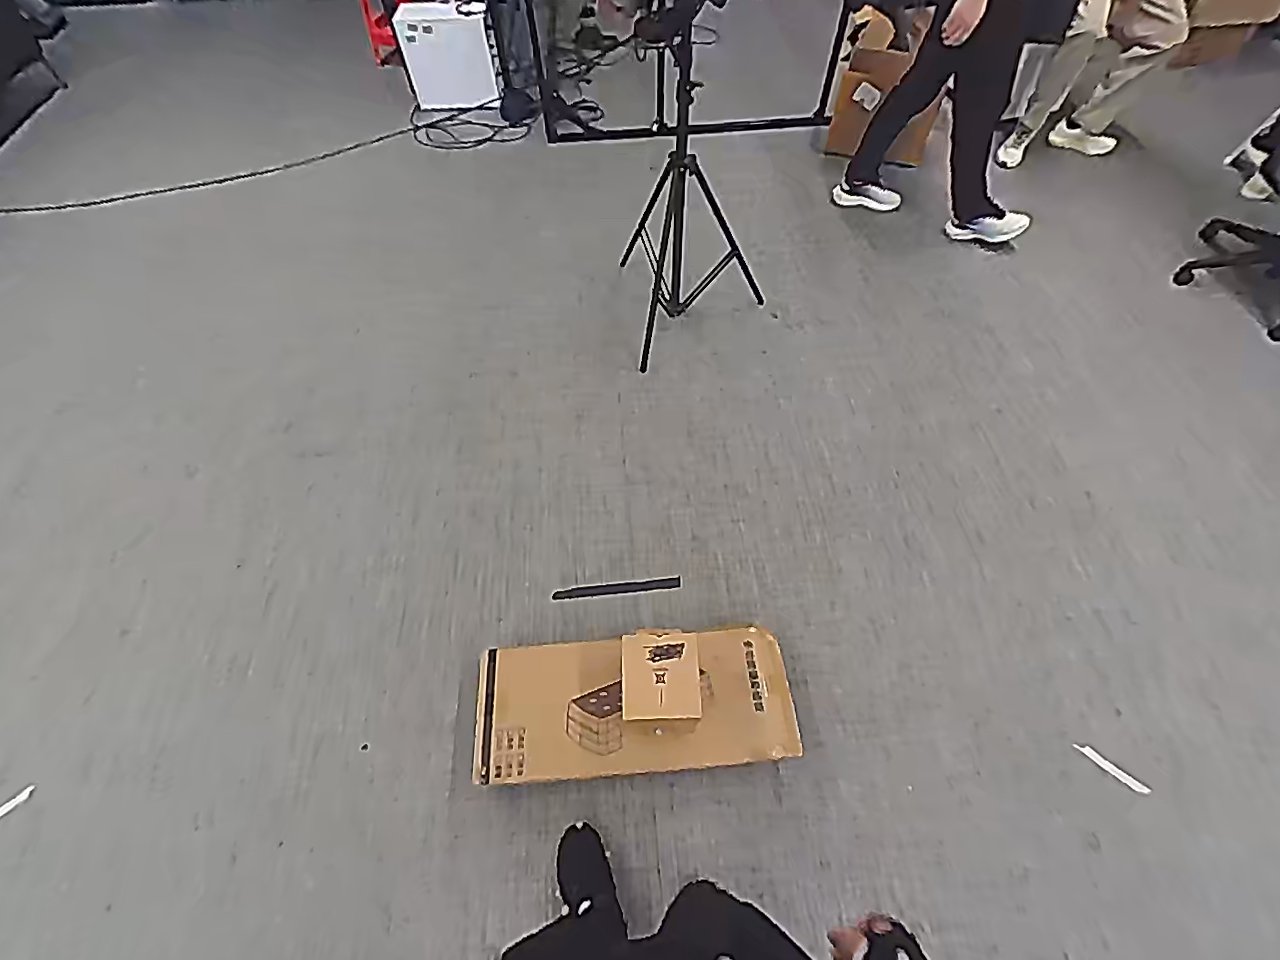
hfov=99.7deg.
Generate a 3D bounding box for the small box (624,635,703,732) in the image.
[{"bbox_3d":[0.048,0.460,1.215,0.168,0.176,0.179,-2,58,1],"label":"small box"}]
